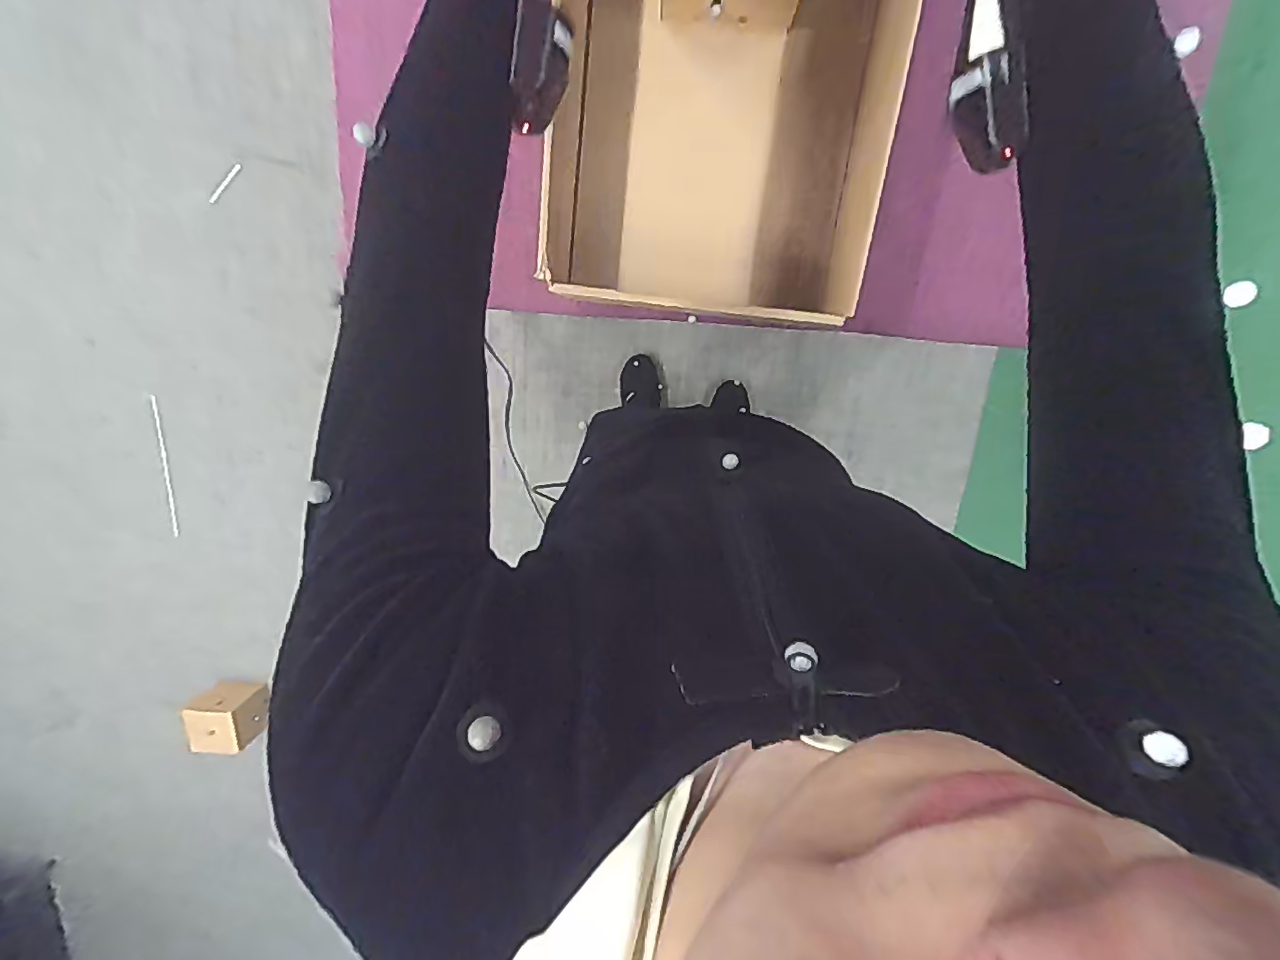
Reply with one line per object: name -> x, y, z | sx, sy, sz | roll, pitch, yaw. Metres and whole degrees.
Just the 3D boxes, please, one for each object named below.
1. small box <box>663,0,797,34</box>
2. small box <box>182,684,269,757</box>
small box -> 0.111, -0.650, 0.604 | 0.168, 0.176, 0.179 | 4, 106, 2
small box -> -1.434, 0.834, 1.886 | 0.179, 0.176, 0.168 | 2, 103, 4
